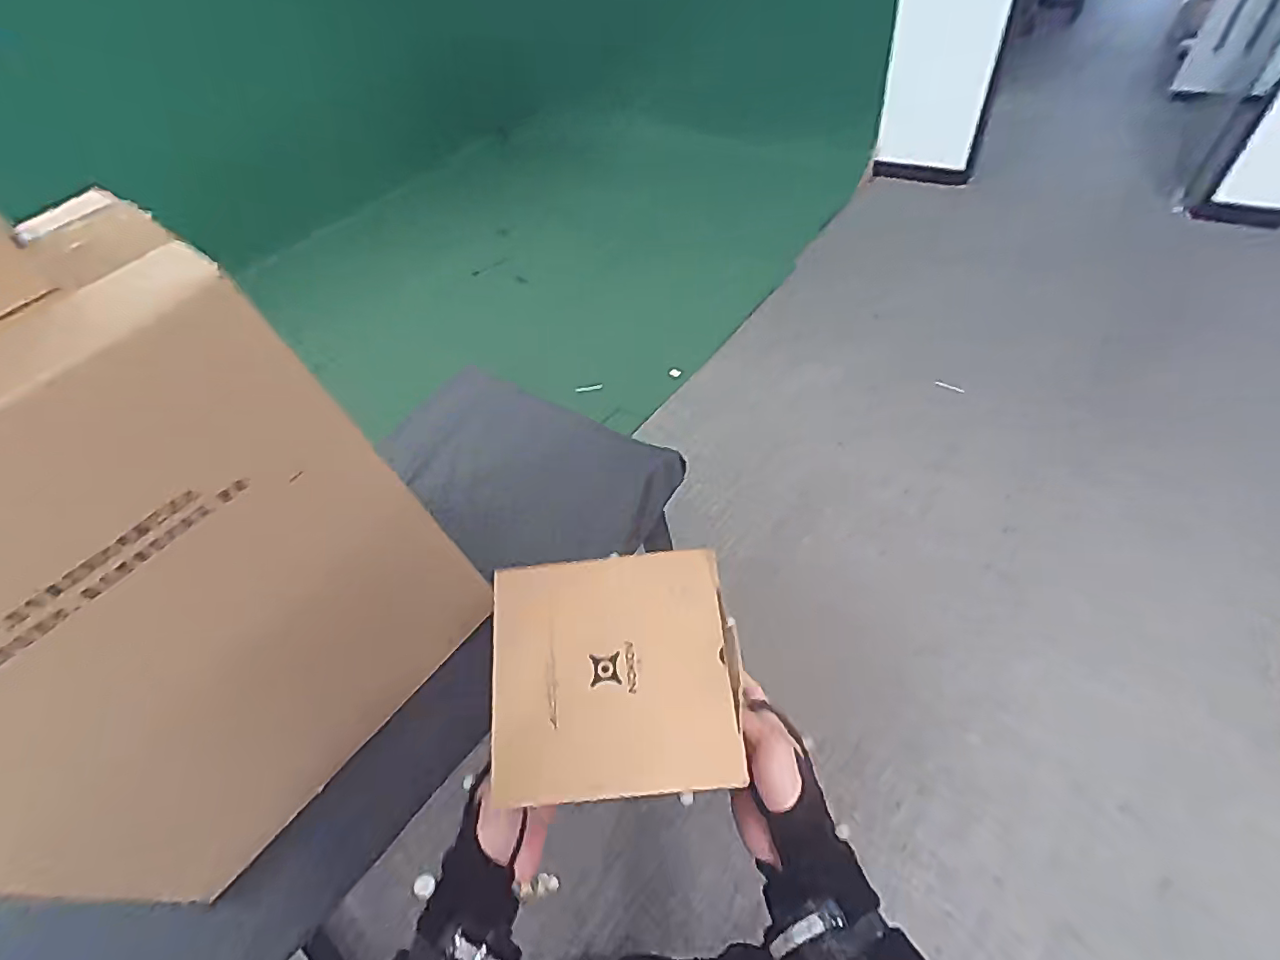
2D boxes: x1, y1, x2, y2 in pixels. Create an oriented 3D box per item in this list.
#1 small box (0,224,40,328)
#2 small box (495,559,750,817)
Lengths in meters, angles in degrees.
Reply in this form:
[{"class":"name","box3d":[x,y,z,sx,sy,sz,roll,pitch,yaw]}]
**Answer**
[{"class":"small box","box3d":[-0.597,-0.179,0.382,0.168,0.176,0.179,33,66,26]},{"class":"small box","box3d":[-0.012,0.179,0.468,0.179,0.176,0.168,-8,63,3]}]
